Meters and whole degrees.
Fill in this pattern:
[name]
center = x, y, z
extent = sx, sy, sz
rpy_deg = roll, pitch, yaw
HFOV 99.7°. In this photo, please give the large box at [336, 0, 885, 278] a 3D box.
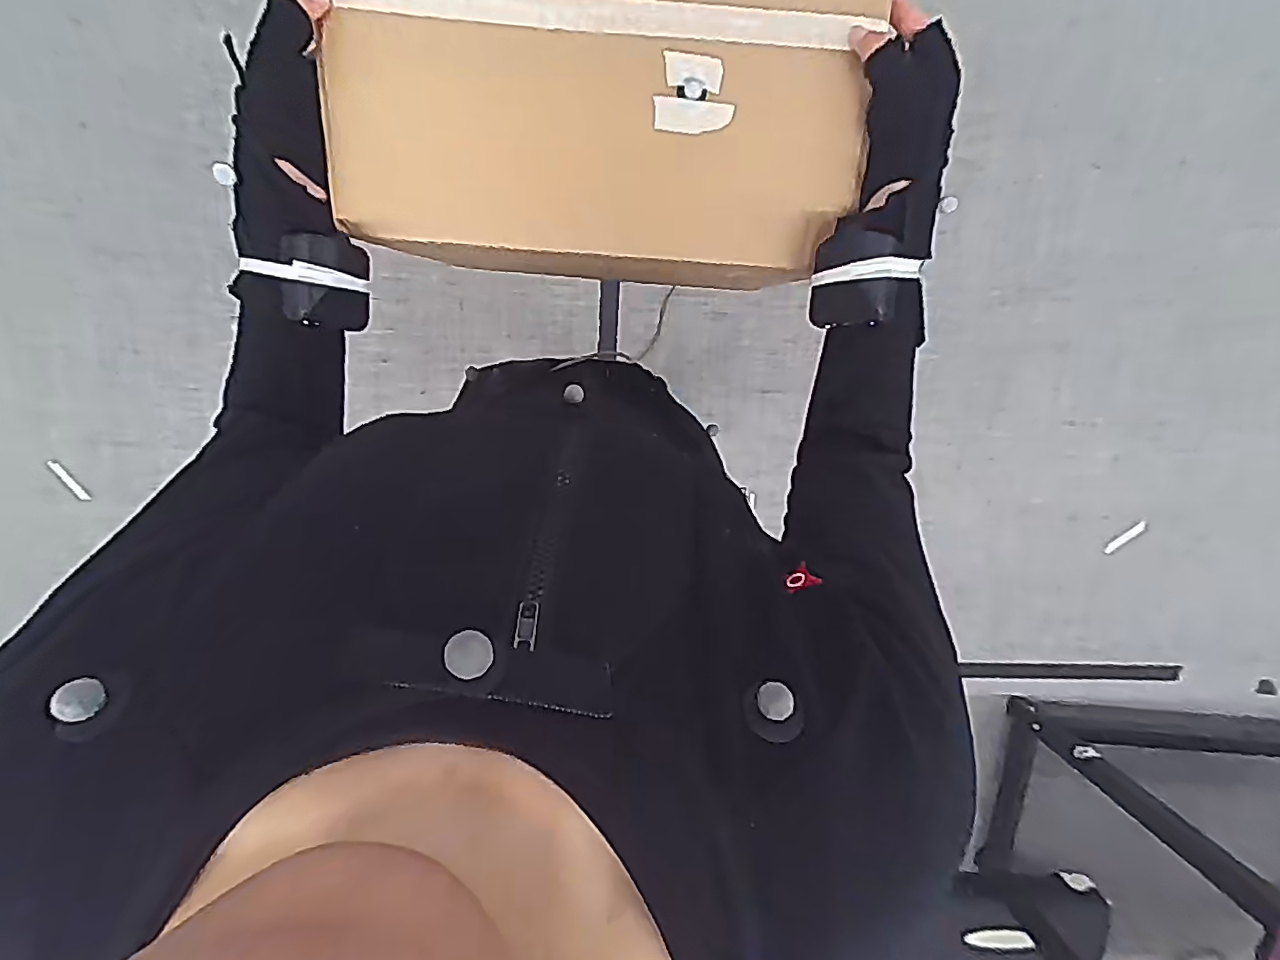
[large box]
center = -0.026, -0.381, 0.535
extent = 0.408, 0.320, 0.320
rpy_deg = 3, 108, -3
